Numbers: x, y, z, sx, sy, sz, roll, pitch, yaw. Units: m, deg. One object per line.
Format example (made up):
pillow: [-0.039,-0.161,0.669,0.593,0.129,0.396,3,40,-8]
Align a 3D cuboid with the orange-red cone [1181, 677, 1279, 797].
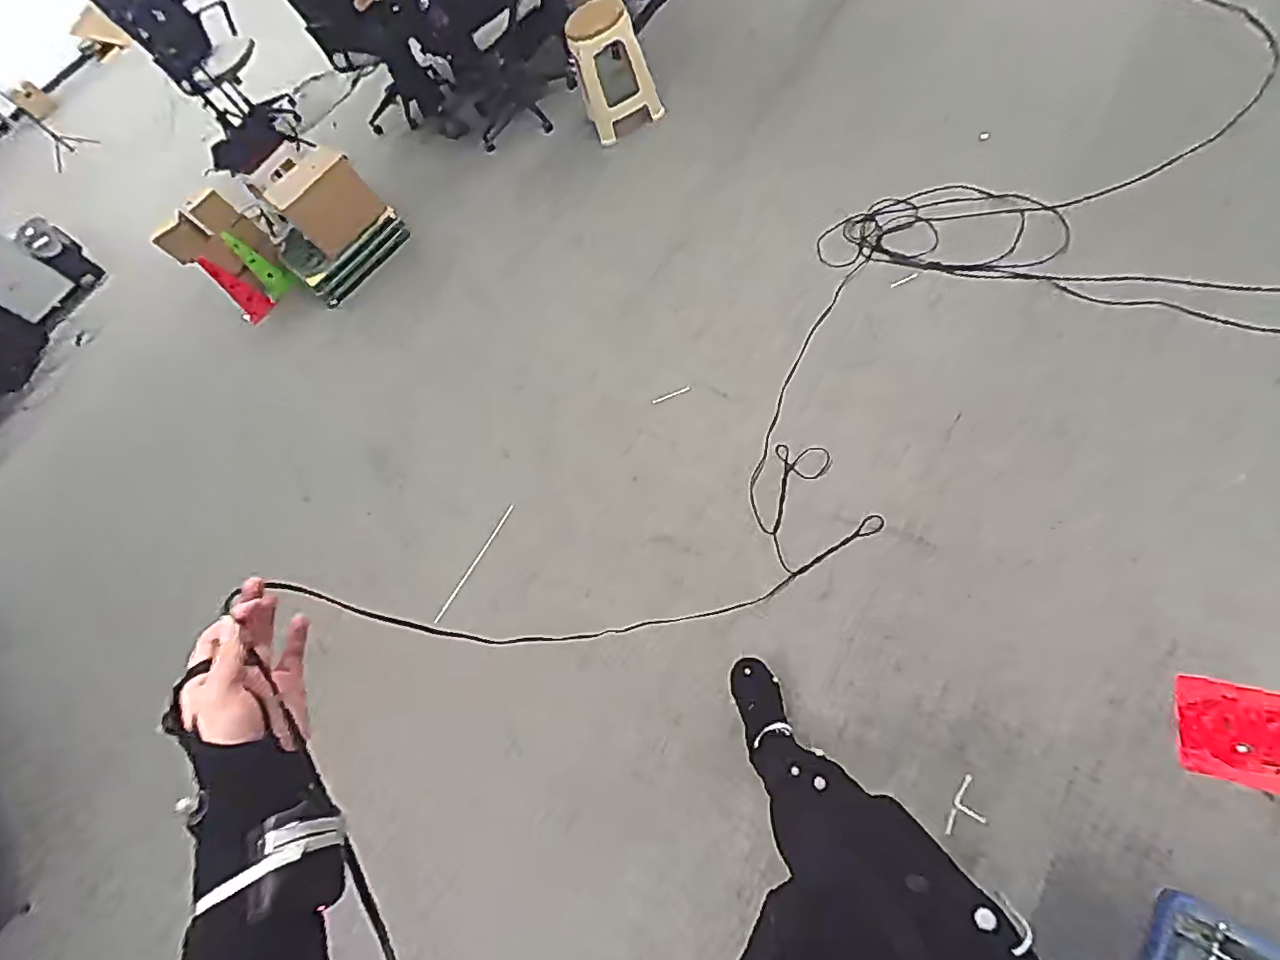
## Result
orange-red cone: [1.187,0.448,0.962,0.198,0.360,0.199,10,67,23]
